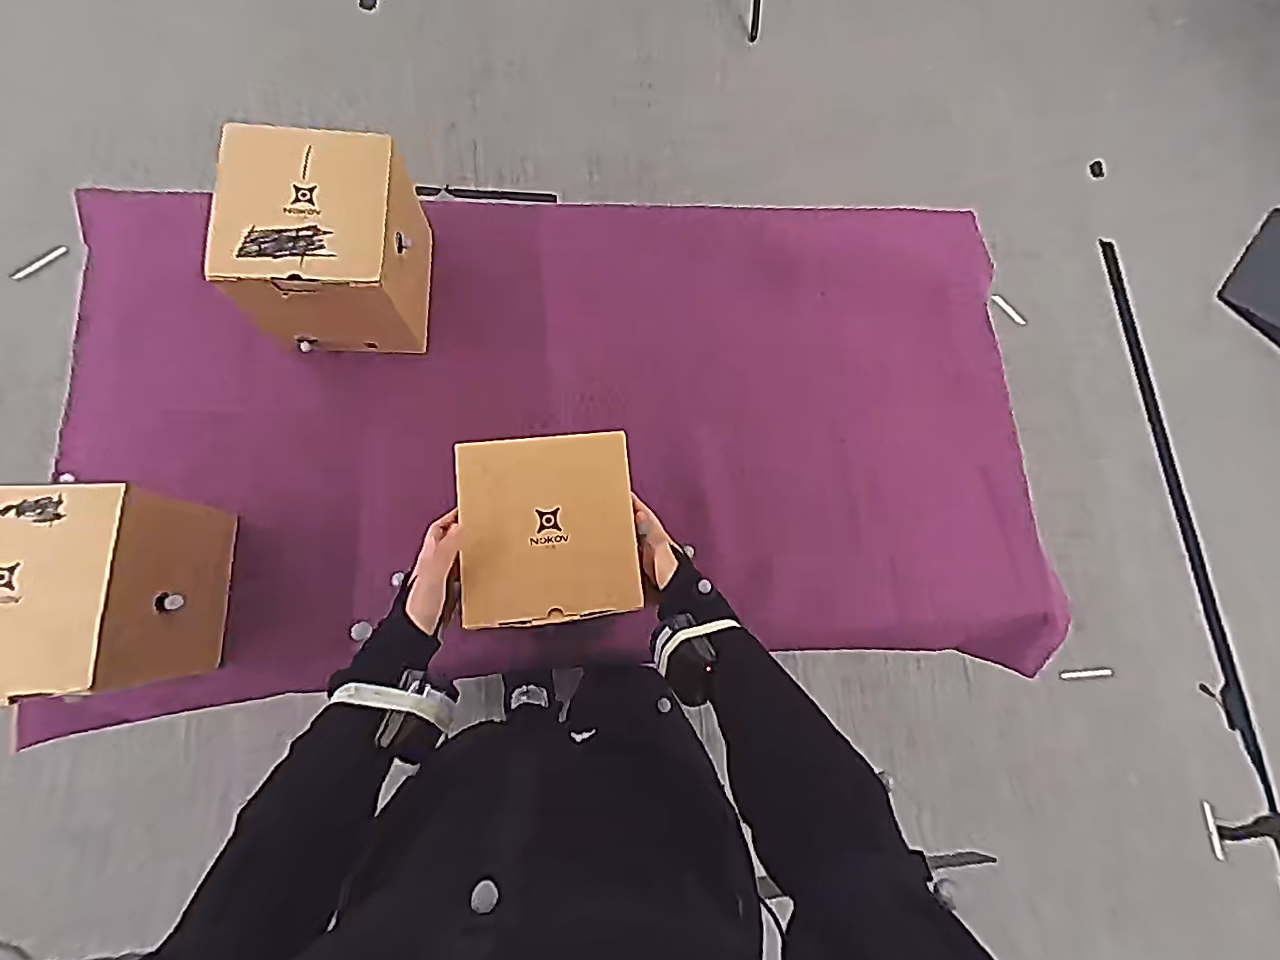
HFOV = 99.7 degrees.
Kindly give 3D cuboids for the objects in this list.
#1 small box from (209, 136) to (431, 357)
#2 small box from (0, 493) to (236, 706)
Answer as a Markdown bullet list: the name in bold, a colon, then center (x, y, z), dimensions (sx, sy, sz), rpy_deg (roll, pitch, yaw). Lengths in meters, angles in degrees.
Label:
- **small box**: center (-0.351, -0.256, 0.630), dimensions (0.168, 0.176, 0.179), rpy_deg (0, 78, -7)
- **small box**: center (-0.534, 0.113, 0.526), dimensions (0.168, 0.176, 0.179), rpy_deg (-1, 78, -8)
